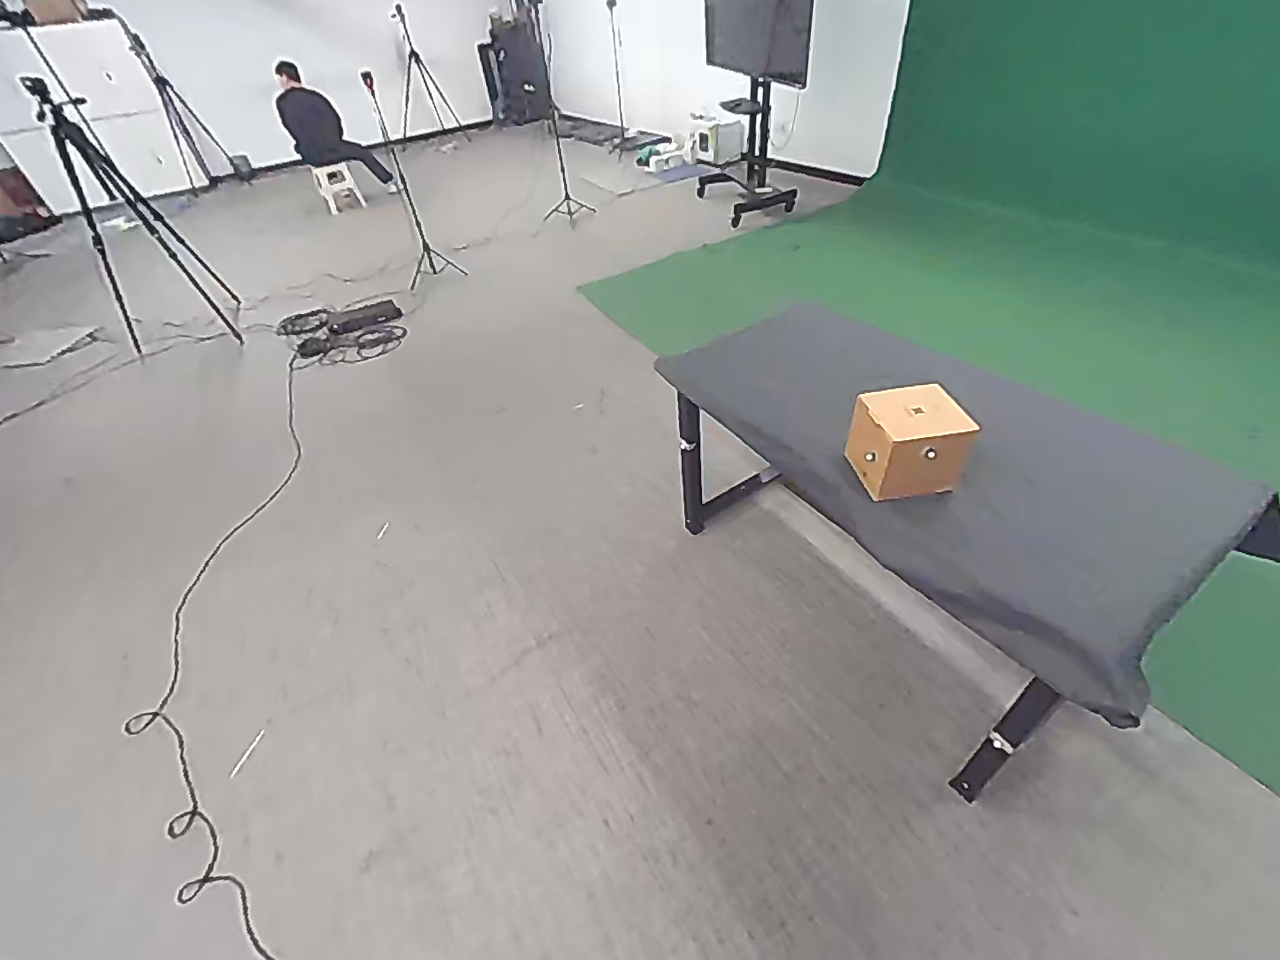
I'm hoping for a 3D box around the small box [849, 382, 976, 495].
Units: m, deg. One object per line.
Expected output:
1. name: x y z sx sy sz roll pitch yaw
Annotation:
1. small box: 0.559 -0.084 1.144 0.179 0.176 0.168 -8 44 -3
